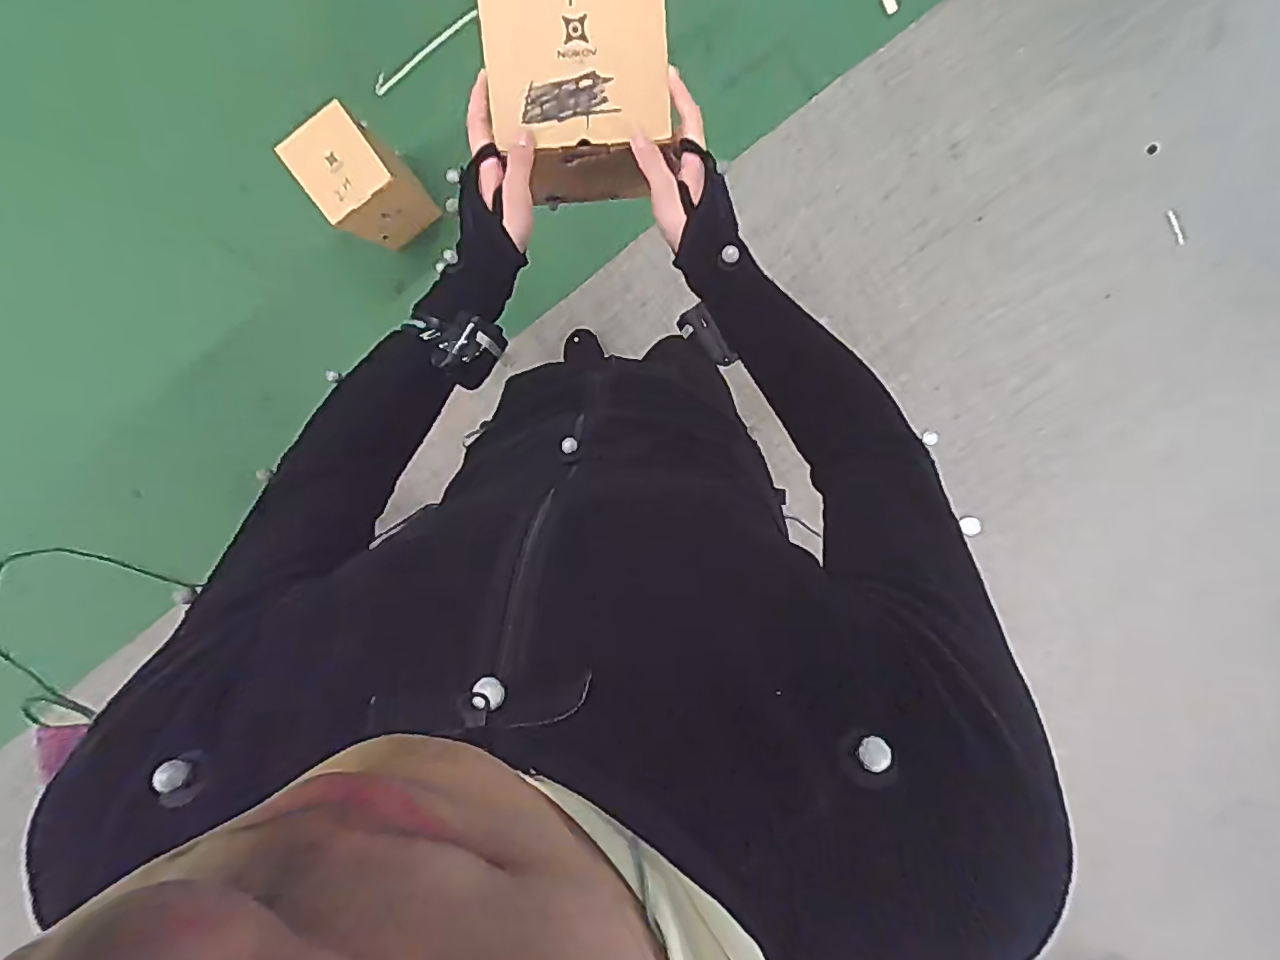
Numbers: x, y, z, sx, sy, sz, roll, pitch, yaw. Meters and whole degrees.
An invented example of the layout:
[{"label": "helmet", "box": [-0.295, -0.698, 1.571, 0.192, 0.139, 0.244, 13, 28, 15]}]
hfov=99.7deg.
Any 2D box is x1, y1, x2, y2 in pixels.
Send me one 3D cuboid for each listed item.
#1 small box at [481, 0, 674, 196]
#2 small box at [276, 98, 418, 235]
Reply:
[{"label": "small box", "box": [-0.055, -0.406, 0.551, 0.168, 0.176, 0.179, -5, 102, 0]}, {"label": "small box", "box": [-0.621, -0.663, 1.170, 0.168, 0.176, 0.179, -34, 104, 6]}]
